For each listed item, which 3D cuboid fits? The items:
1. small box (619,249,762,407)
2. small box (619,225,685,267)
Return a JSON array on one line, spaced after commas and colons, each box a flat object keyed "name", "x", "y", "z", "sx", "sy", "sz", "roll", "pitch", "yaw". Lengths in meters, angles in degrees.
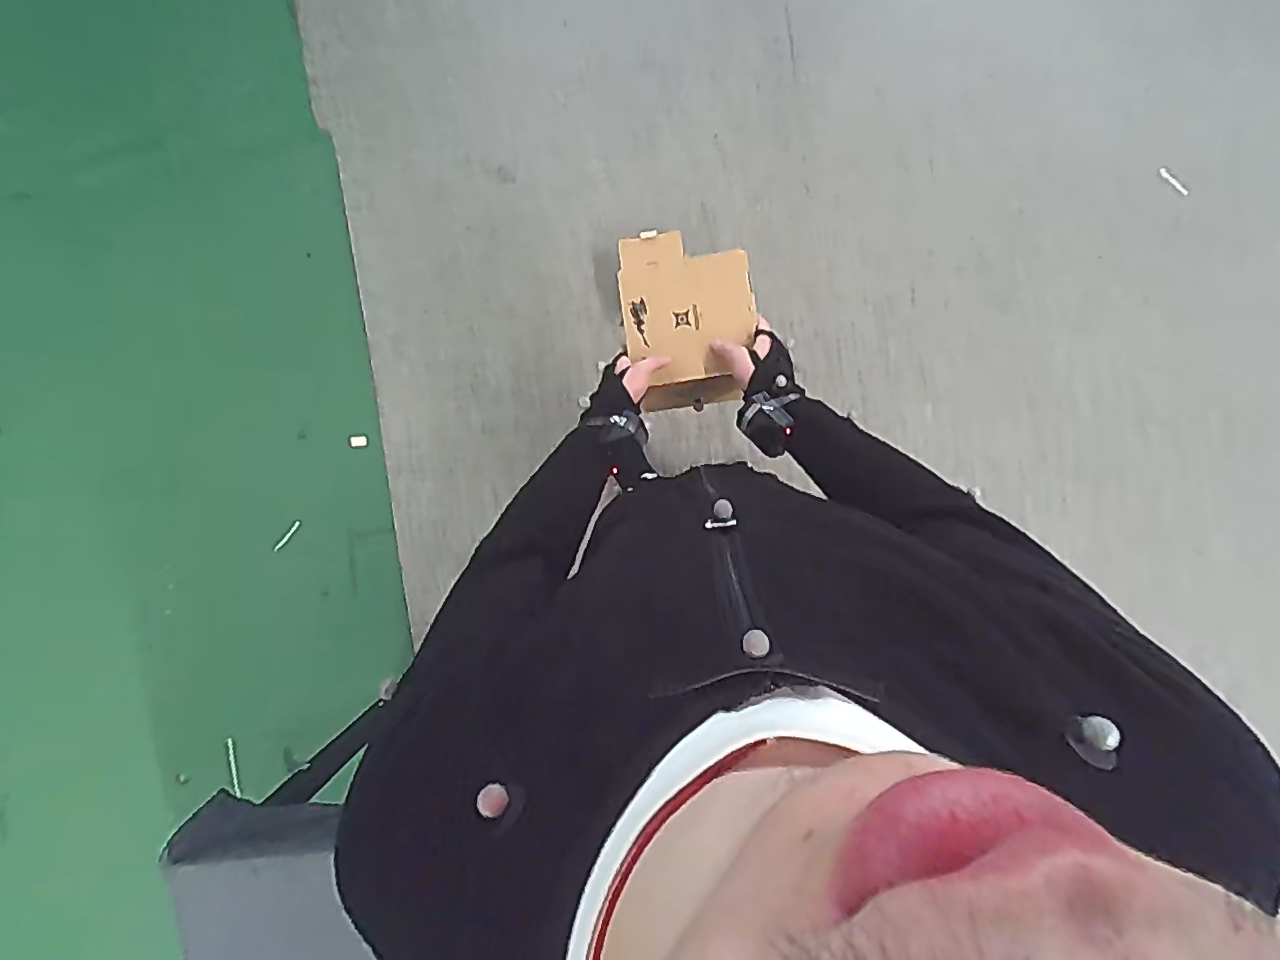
[{"name": "small box", "x": 0.071, "y": -0.211, "z": 0.793, "sx": 0.179, "sy": 0.176, "sz": 0.168, "roll": -7, "pitch": 85, "yaw": 5}, {"name": "small box", "x": 0.039, "y": -0.553, "z": 1.447, "sx": 0.168, "sy": 0.176, "sz": 0.179, "roll": -5, "pitch": 94, "yaw": 6}]
